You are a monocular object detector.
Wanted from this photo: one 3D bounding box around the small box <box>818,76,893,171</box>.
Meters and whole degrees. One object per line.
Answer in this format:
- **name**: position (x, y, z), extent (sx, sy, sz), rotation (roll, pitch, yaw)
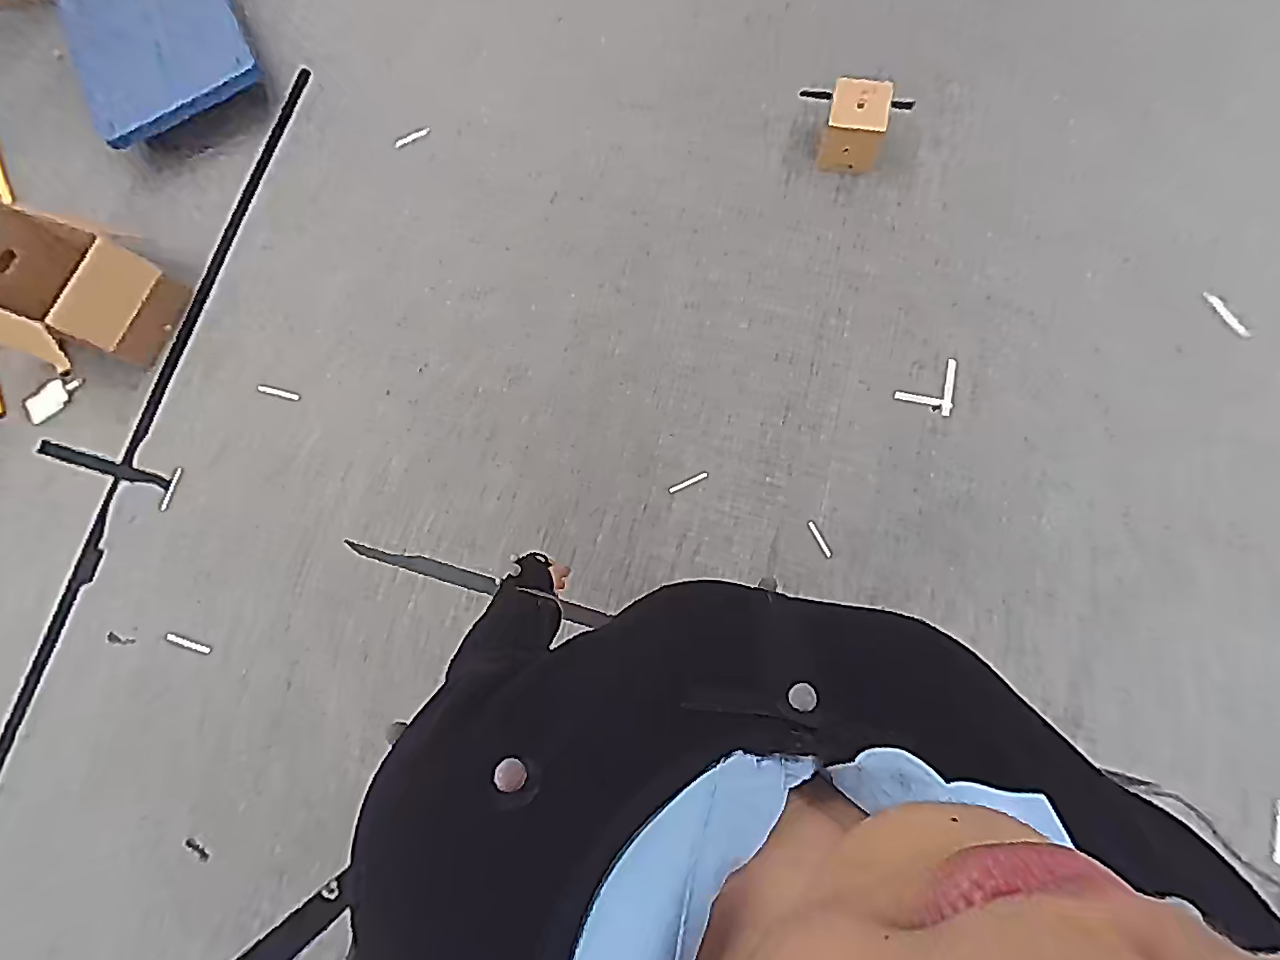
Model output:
- **small box**: position (0.656, -1.089, 1.663), extent (0.168, 0.176, 0.179), rotation (12, 79, 8)
